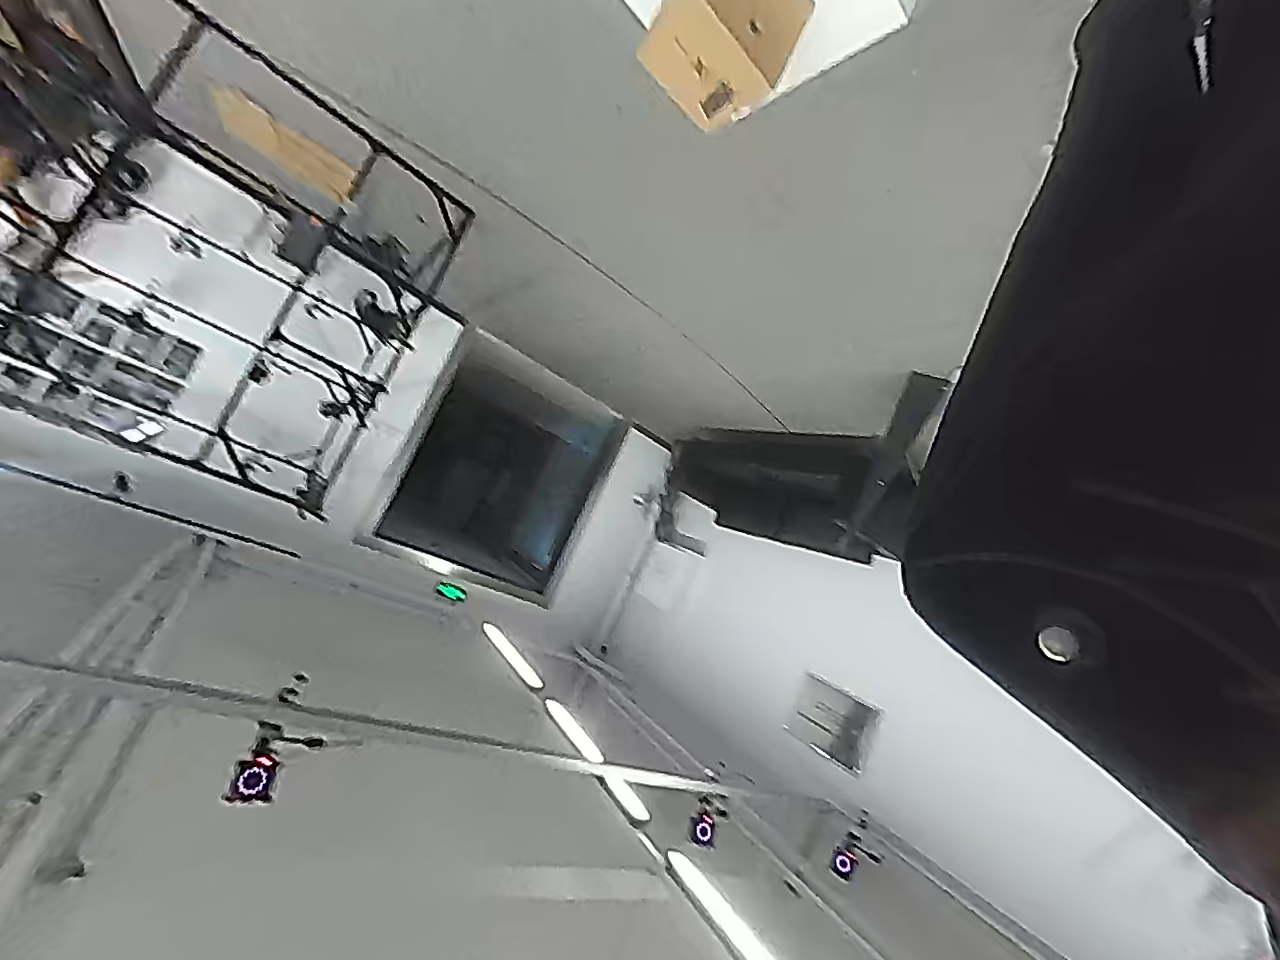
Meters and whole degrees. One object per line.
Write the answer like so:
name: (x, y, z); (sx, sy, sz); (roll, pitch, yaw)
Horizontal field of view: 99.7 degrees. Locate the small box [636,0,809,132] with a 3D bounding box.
small box: (0.132, -0.708, 0.846); (0.179, 0.176, 0.168); (30, 171, -32)
